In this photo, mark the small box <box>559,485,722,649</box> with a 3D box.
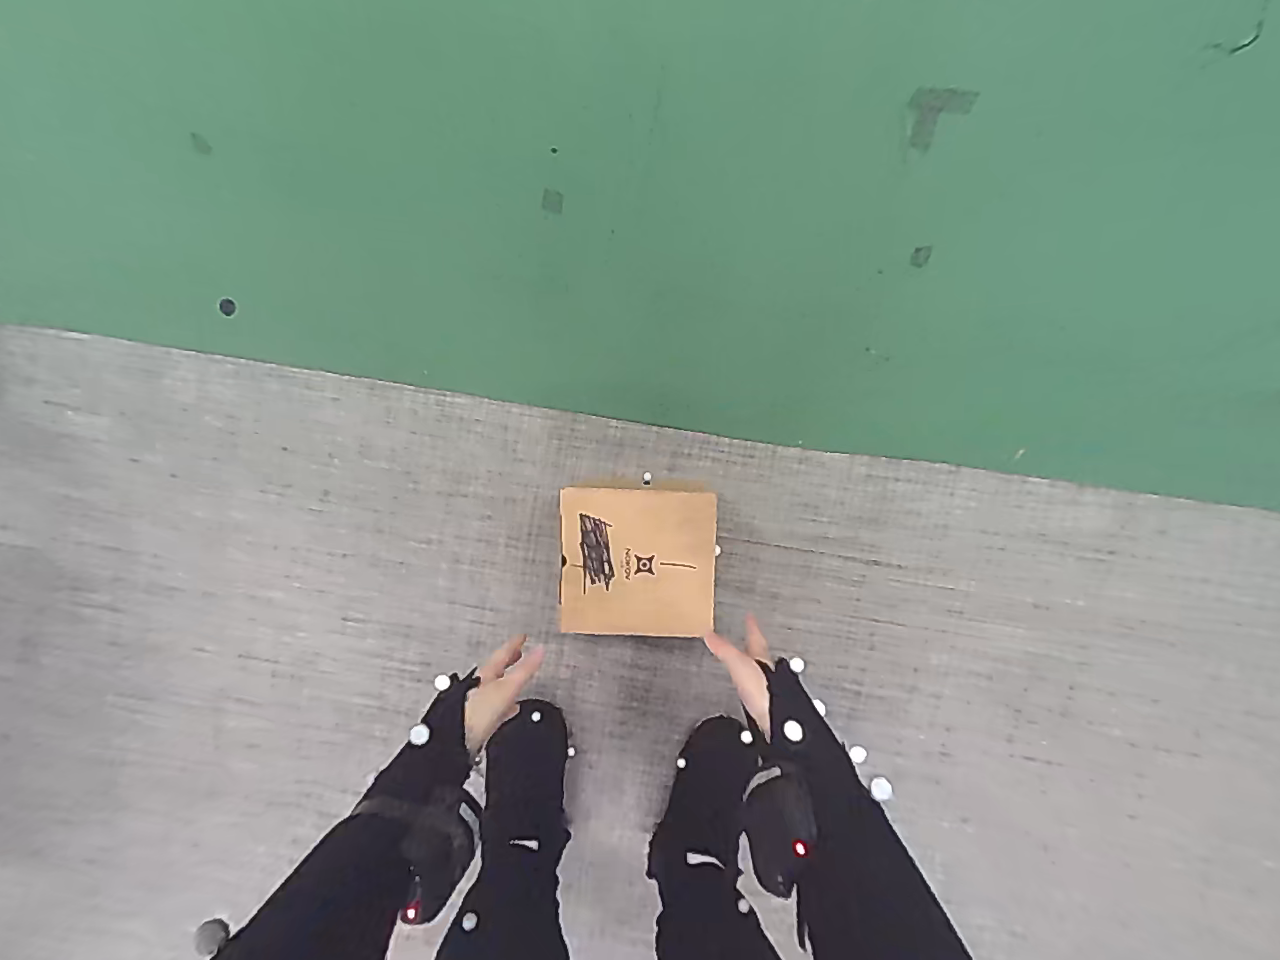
[{"bbox_3d":[0.004,0.096,0.665,0.179,0.176,0.168,1,94,2],"label":"small box"}]
